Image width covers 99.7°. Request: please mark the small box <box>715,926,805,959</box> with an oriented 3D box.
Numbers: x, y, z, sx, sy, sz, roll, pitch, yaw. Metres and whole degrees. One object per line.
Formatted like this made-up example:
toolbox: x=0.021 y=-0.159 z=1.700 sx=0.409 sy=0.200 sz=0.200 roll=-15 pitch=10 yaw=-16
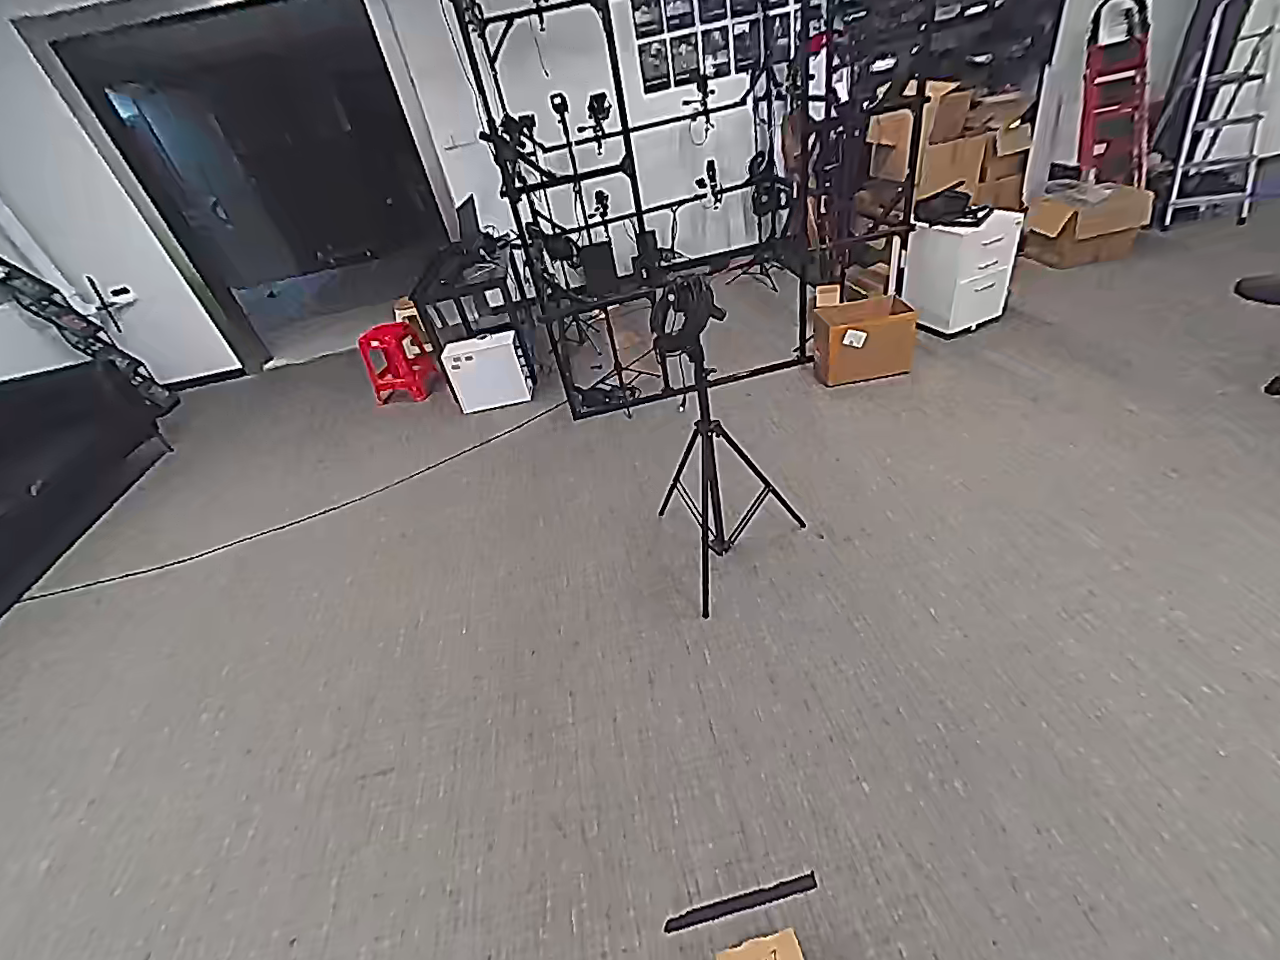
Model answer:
small box: x=0.255 y=1.009 z=1.038 sx=0.168 sy=0.176 sz=0.179 roll=-15 pitch=36 yaw=-4
